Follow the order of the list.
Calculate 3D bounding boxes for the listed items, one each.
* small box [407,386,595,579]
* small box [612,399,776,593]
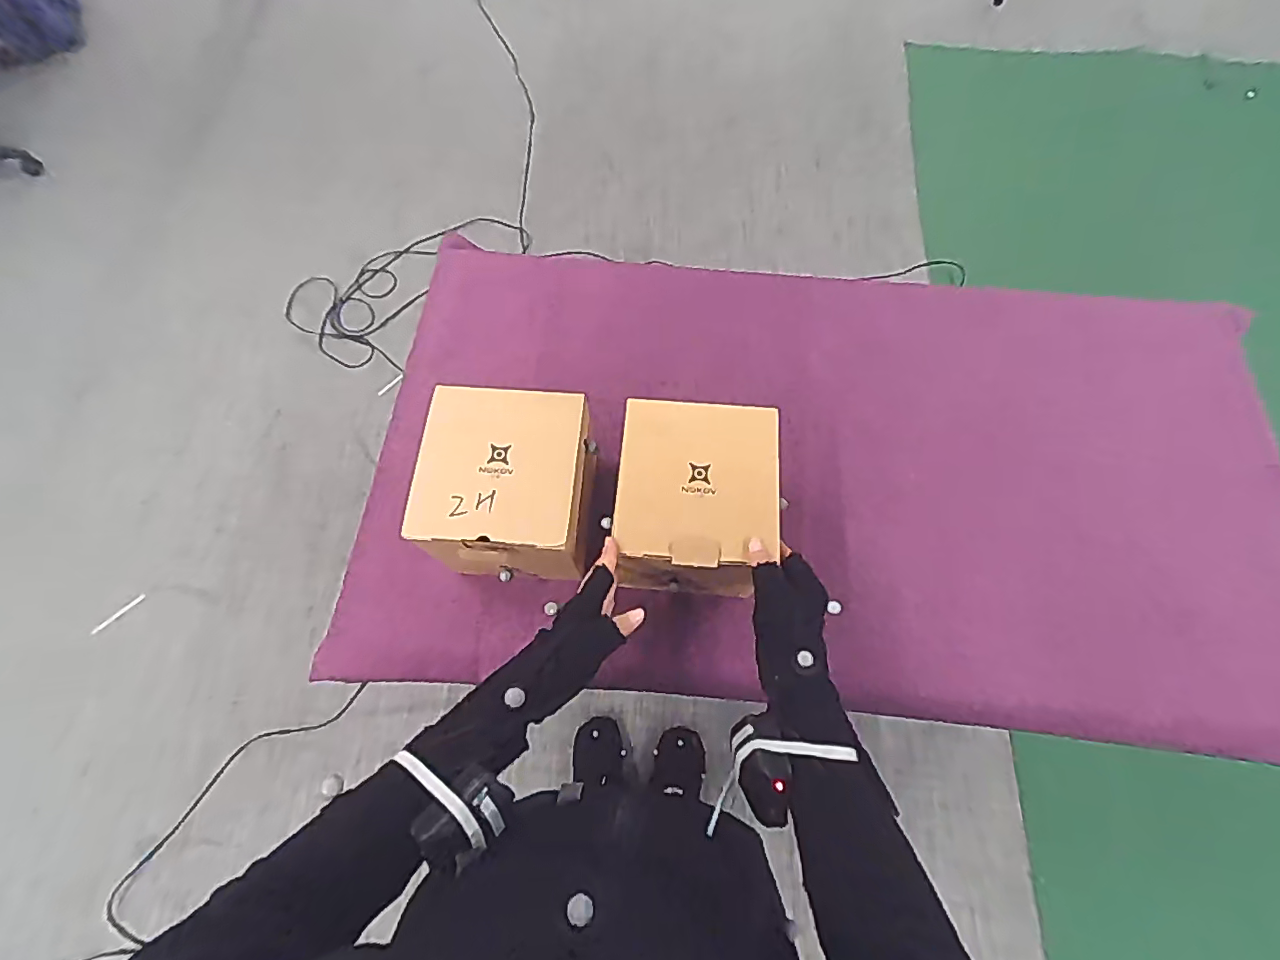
[{"bbox_3d":[-0.146,0.010,0.641,0.168,0.176,0.179,3,69,2],"label":"small box"},{"bbox_3d":[0.059,0.027,0.636,0.168,0.176,0.179,5,69,2],"label":"small box"}]
